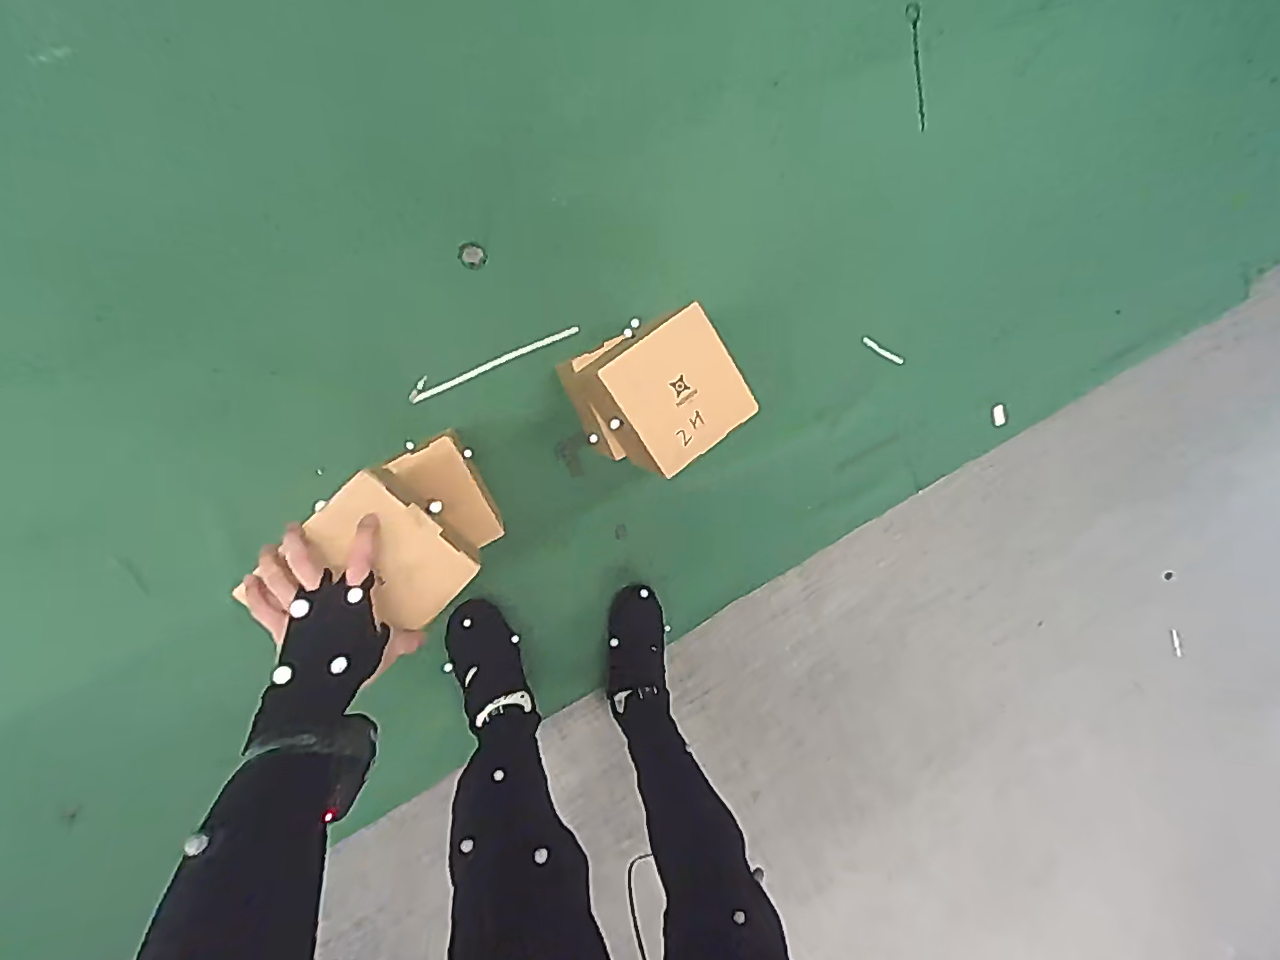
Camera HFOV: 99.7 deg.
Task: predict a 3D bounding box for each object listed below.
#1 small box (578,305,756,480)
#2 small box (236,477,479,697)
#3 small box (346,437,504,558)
[{"bbox_3d":[0.030,-0.124,0.788,0.168,0.176,0.179,-37,107,-8],"label":"small box"},{"bbox_3d":[-0.316,0.111,0.645,0.168,0.176,0.179,45,78,-13],"label":"small box"},{"bbox_3d":[-0.335,0.043,0.881,0.168,0.176,0.179,-29,104,-10],"label":"small box"}]
